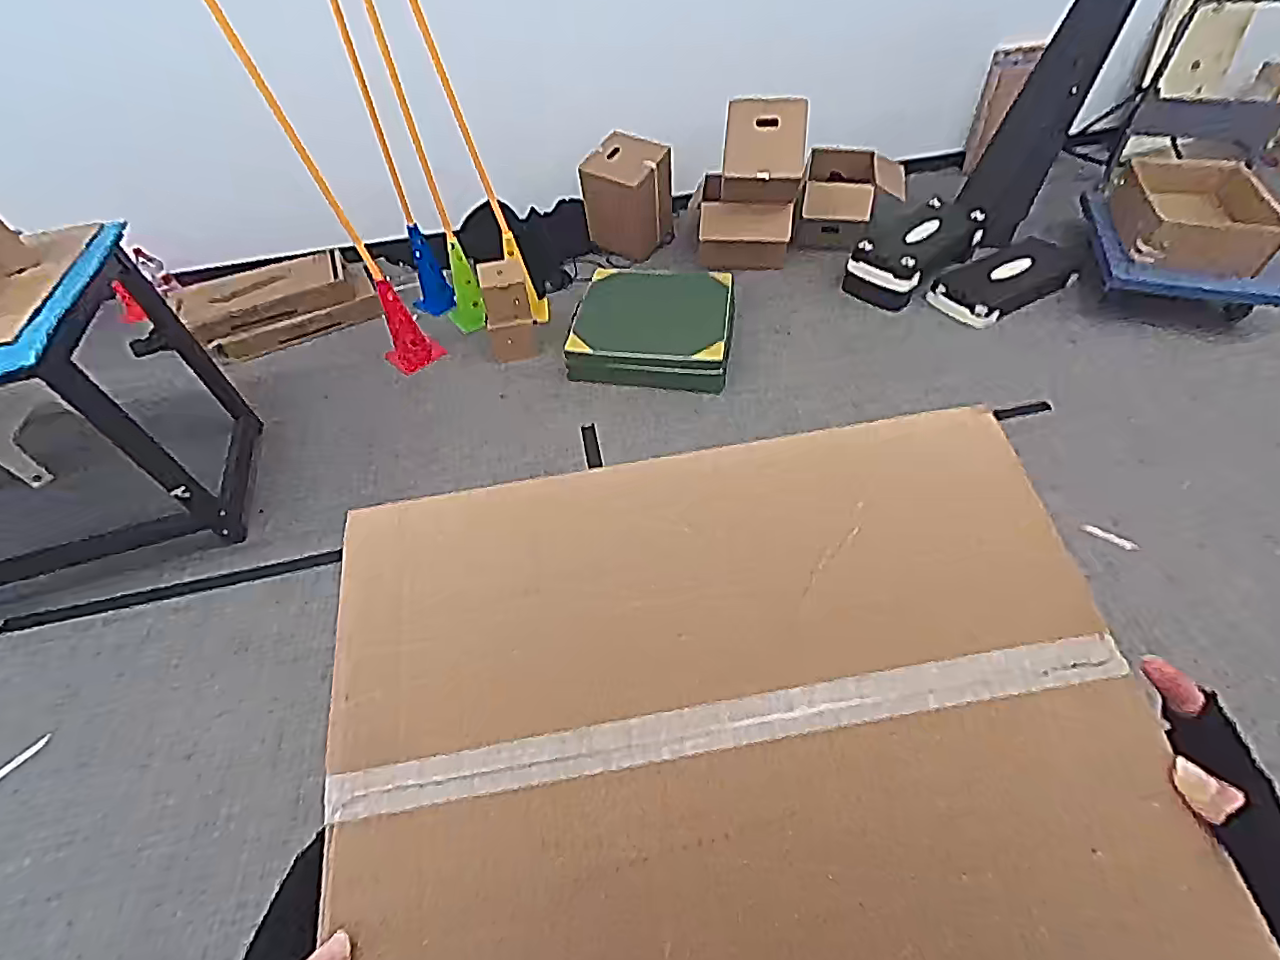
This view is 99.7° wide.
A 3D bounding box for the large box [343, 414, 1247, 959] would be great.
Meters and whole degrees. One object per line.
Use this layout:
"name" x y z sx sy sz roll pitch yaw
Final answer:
"large box" 0.052 0.191 0.421 0.408 0.320 0.320 -10 65 -2
